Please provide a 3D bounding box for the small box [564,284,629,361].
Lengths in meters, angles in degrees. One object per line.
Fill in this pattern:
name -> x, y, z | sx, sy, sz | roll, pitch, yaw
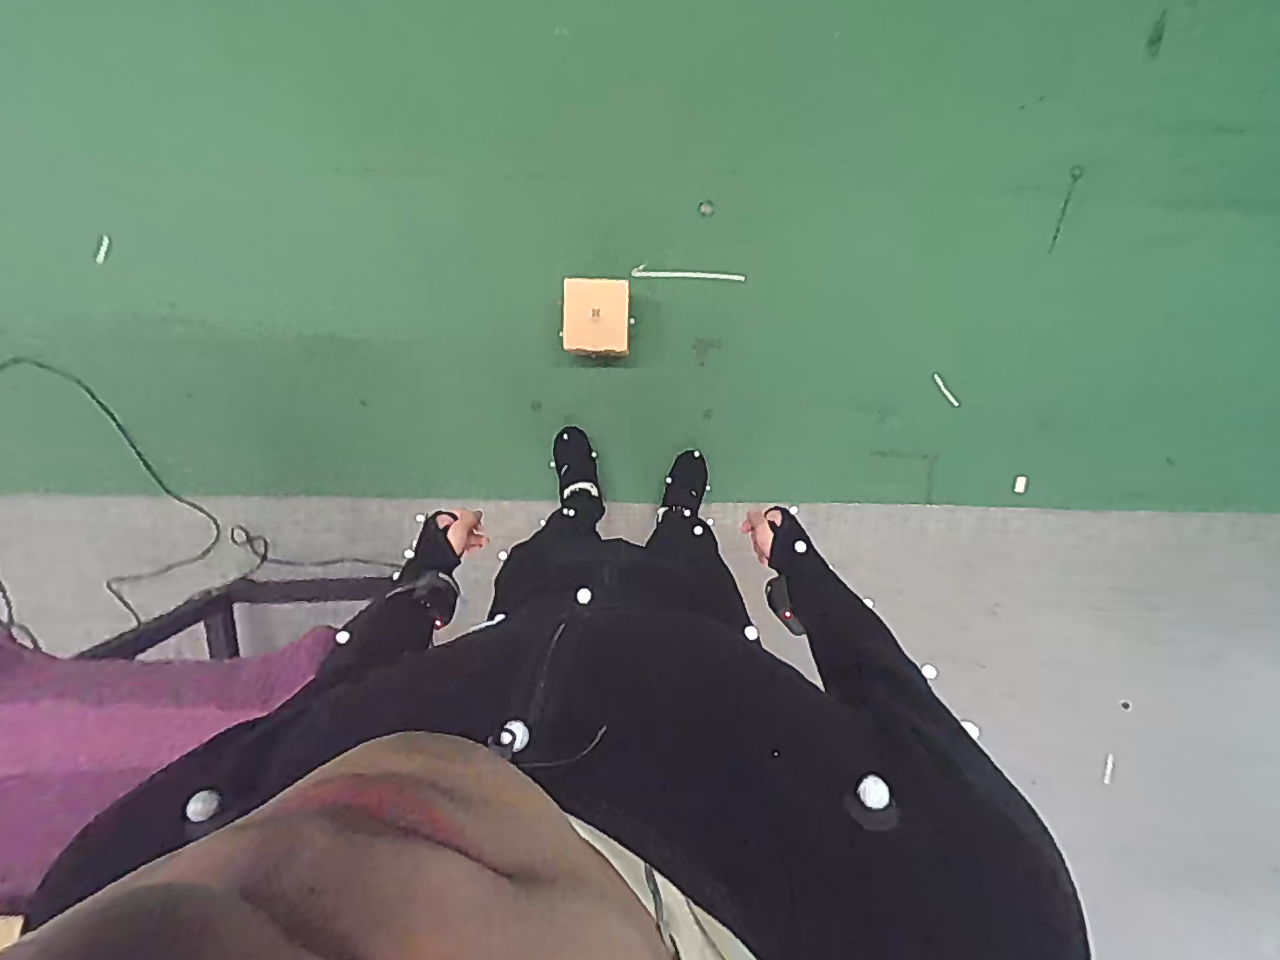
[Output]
small box -> -0.113, -0.417, 1.451 | 0.168, 0.176, 0.179 | 1, 100, -1
